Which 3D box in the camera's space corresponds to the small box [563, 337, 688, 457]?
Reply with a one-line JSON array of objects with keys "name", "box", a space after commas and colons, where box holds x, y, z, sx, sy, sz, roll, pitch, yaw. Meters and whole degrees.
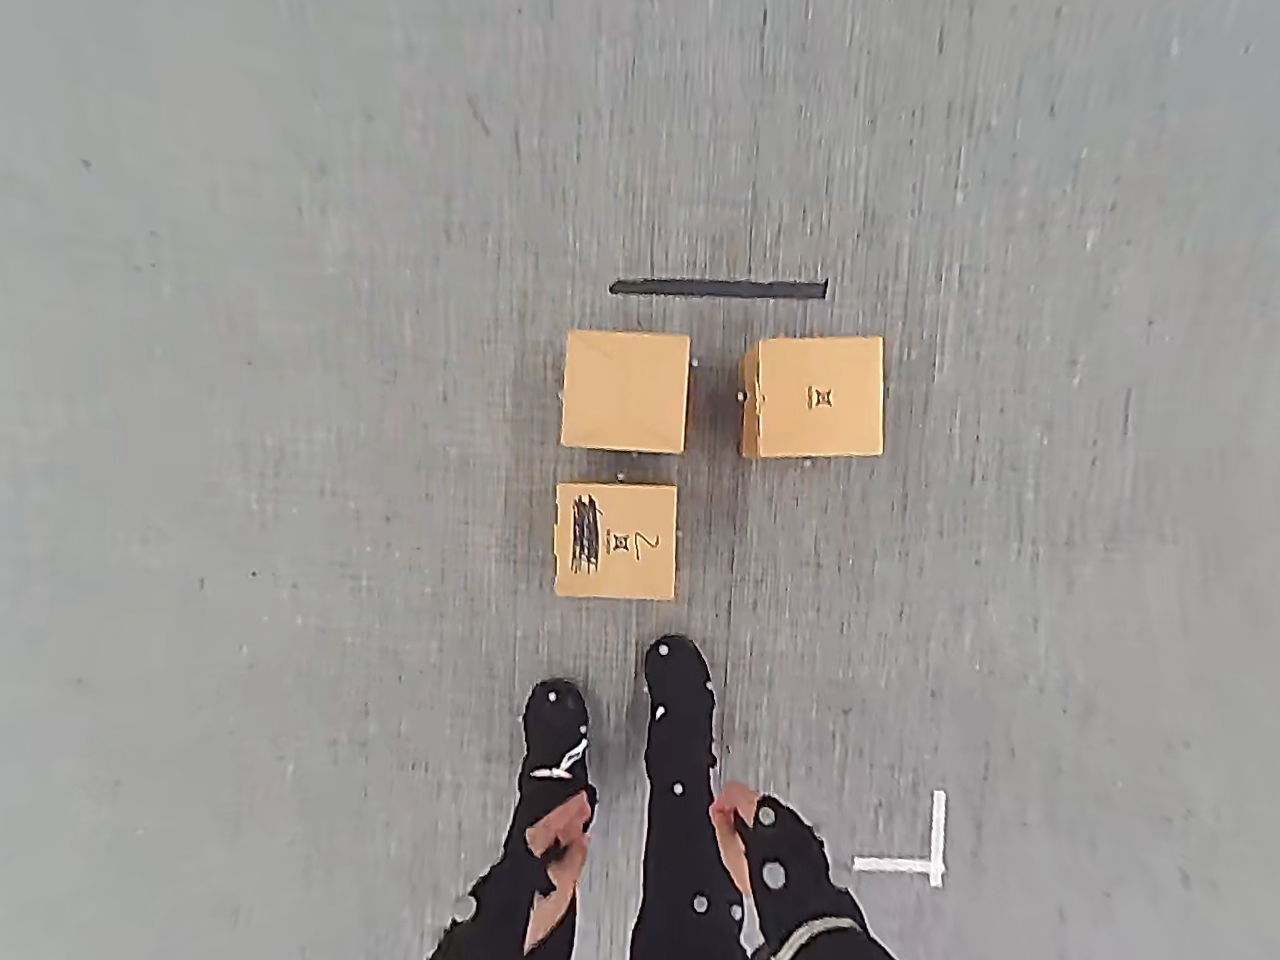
[{"name": "small box", "box": [-0.016, -0.122, 0.848, 0.179, 0.176, 0.168, 4, 93, 1]}]

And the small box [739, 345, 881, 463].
[{"name": "small box", "box": [0.255, -0.113, 0.843, 0.179, 0.176, 0.168, -1, 93, 3]}]
